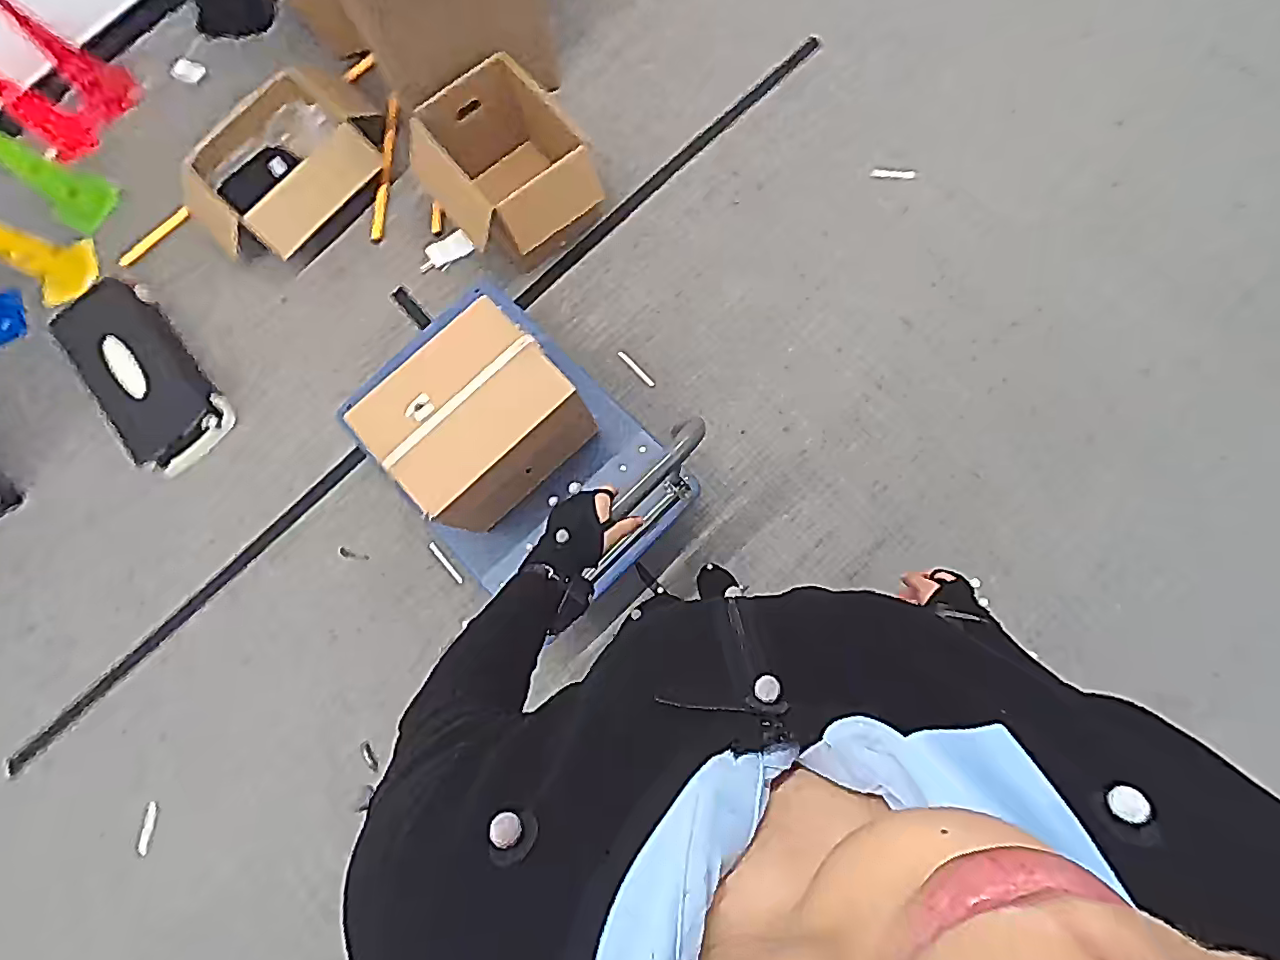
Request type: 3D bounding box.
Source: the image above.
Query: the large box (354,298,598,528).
[{"bbox_3d":[-0.363,-0.138,1.298,0.408,0.320,0.320,-44,78,-3],"label":"large box"}]
